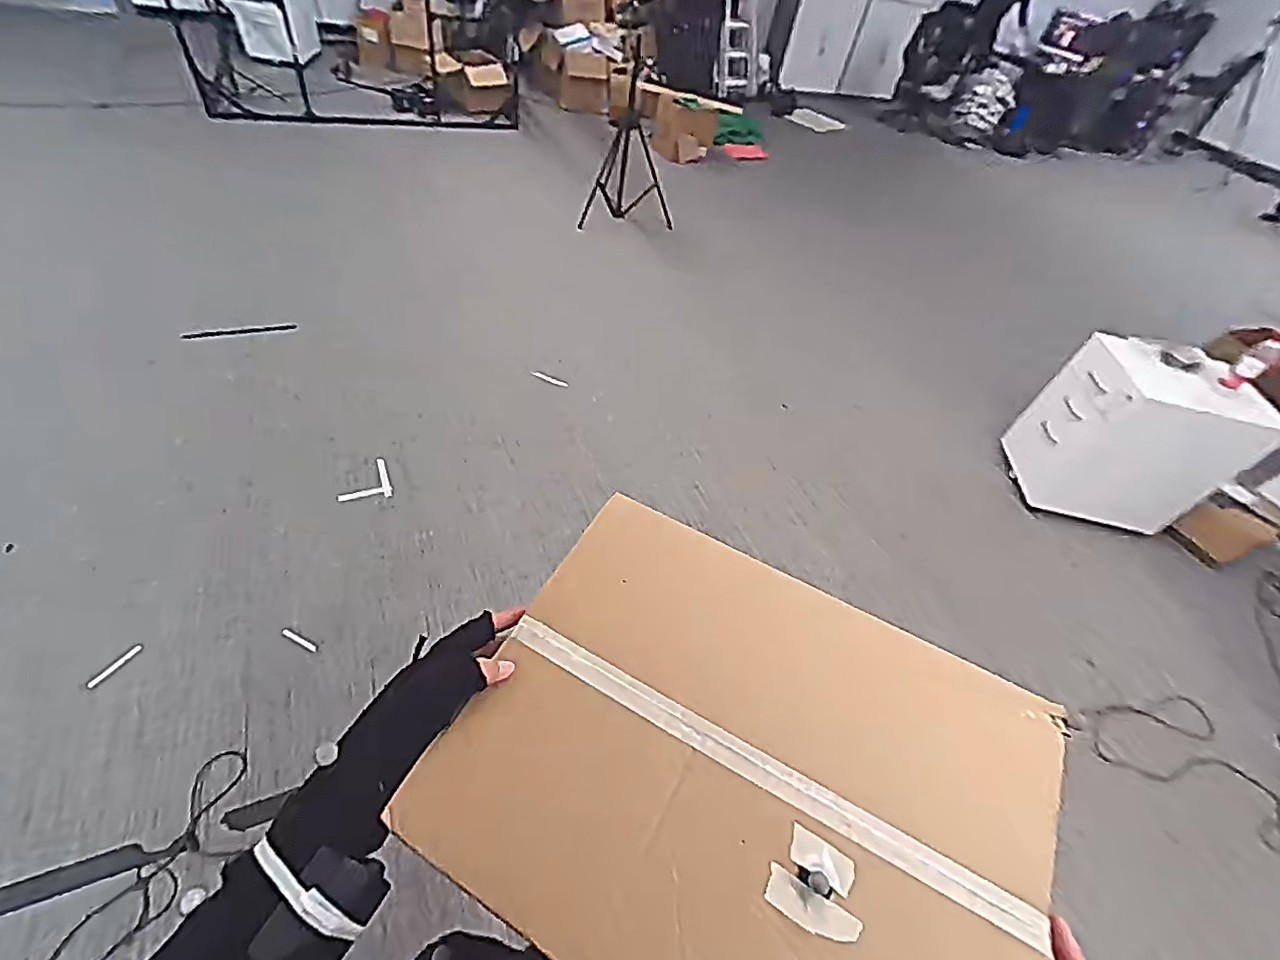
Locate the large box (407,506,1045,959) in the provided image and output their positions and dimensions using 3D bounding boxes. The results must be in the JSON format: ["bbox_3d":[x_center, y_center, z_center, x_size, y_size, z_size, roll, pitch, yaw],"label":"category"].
[{"bbox_3d":[0.073,0.295,0.524,0.408,0.320,0.320,26,57,16],"label":"large box"}]
